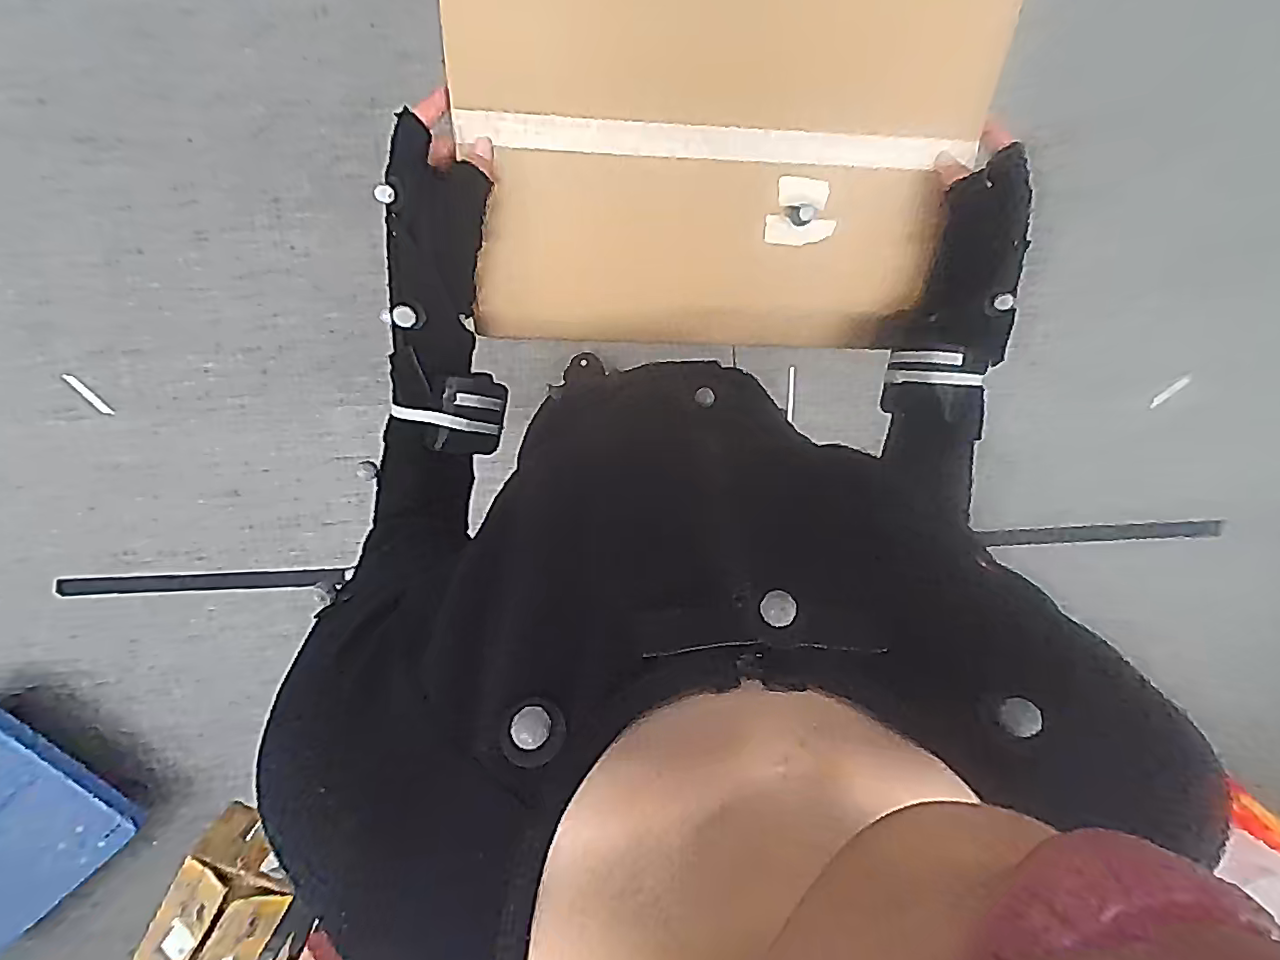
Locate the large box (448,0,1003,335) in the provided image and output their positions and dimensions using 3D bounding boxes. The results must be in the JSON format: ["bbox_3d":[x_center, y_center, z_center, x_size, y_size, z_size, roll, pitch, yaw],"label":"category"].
[{"bbox_3d":[0.049,-0.341,0.550,0.408,0.320,0.320,-1,121,-6],"label":"large box"}]
